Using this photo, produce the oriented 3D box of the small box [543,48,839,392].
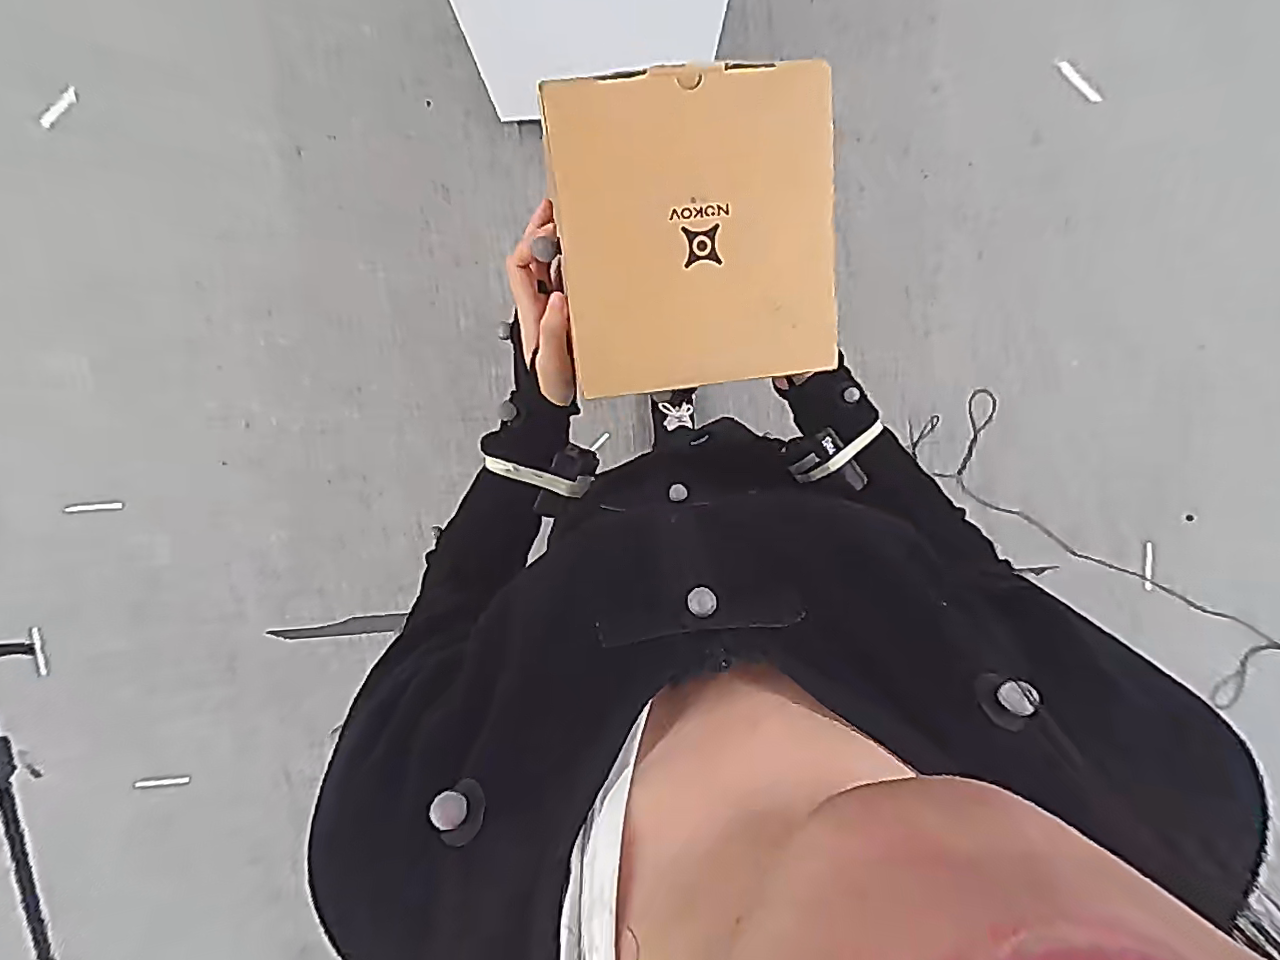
[{"bbox_3d":[0.029,-0.167,0.396,0.168,0.176,0.179,-9,104,-5],"label":"small box"}]
